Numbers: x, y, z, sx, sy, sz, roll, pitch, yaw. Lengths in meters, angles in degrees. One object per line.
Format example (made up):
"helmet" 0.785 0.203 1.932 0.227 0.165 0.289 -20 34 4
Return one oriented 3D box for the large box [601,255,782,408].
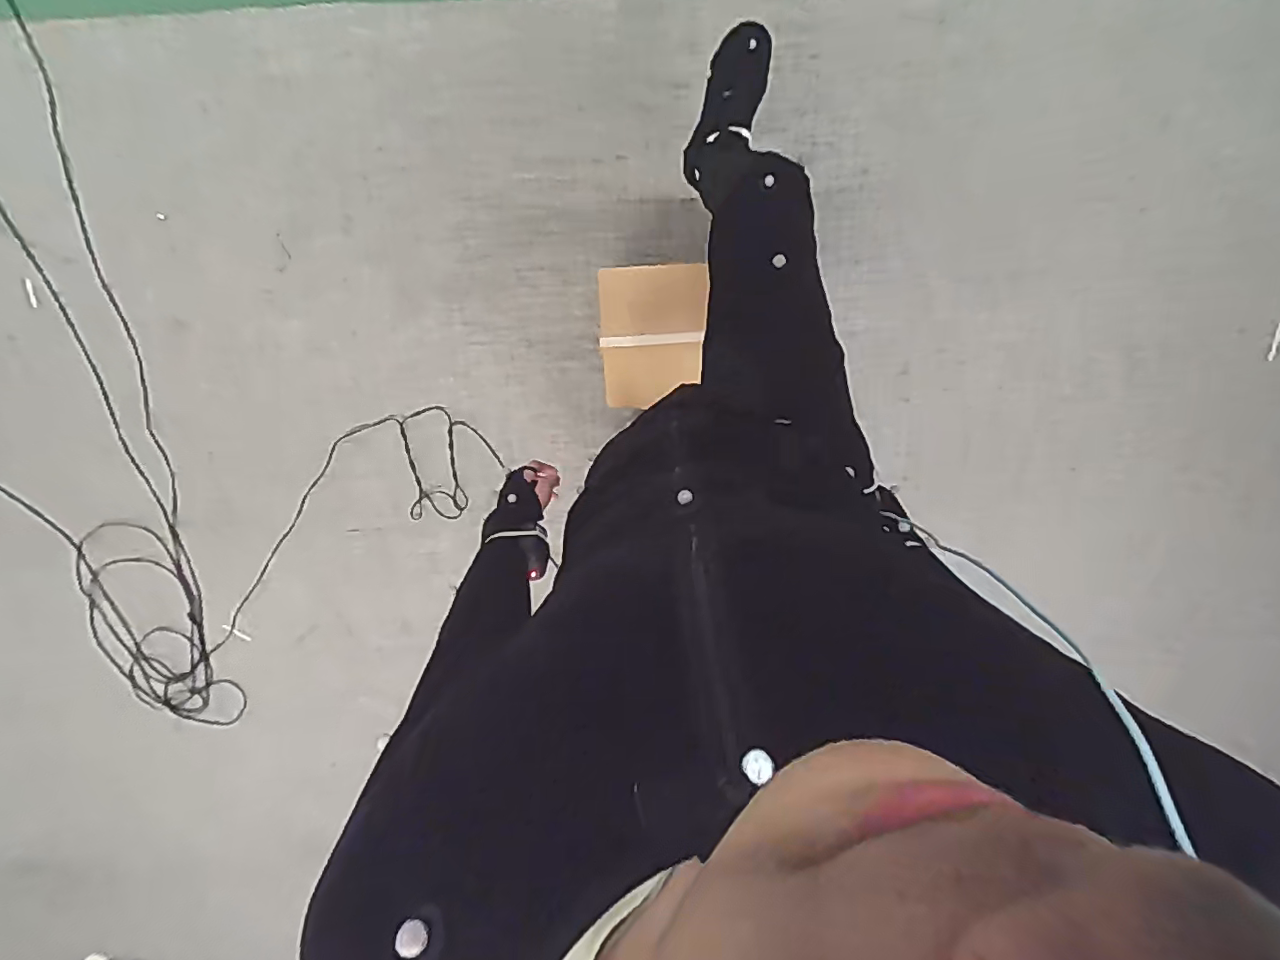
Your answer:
"large box" 0.119 -0.372 1.378 0.408 0.320 0.320 -4 105 0
